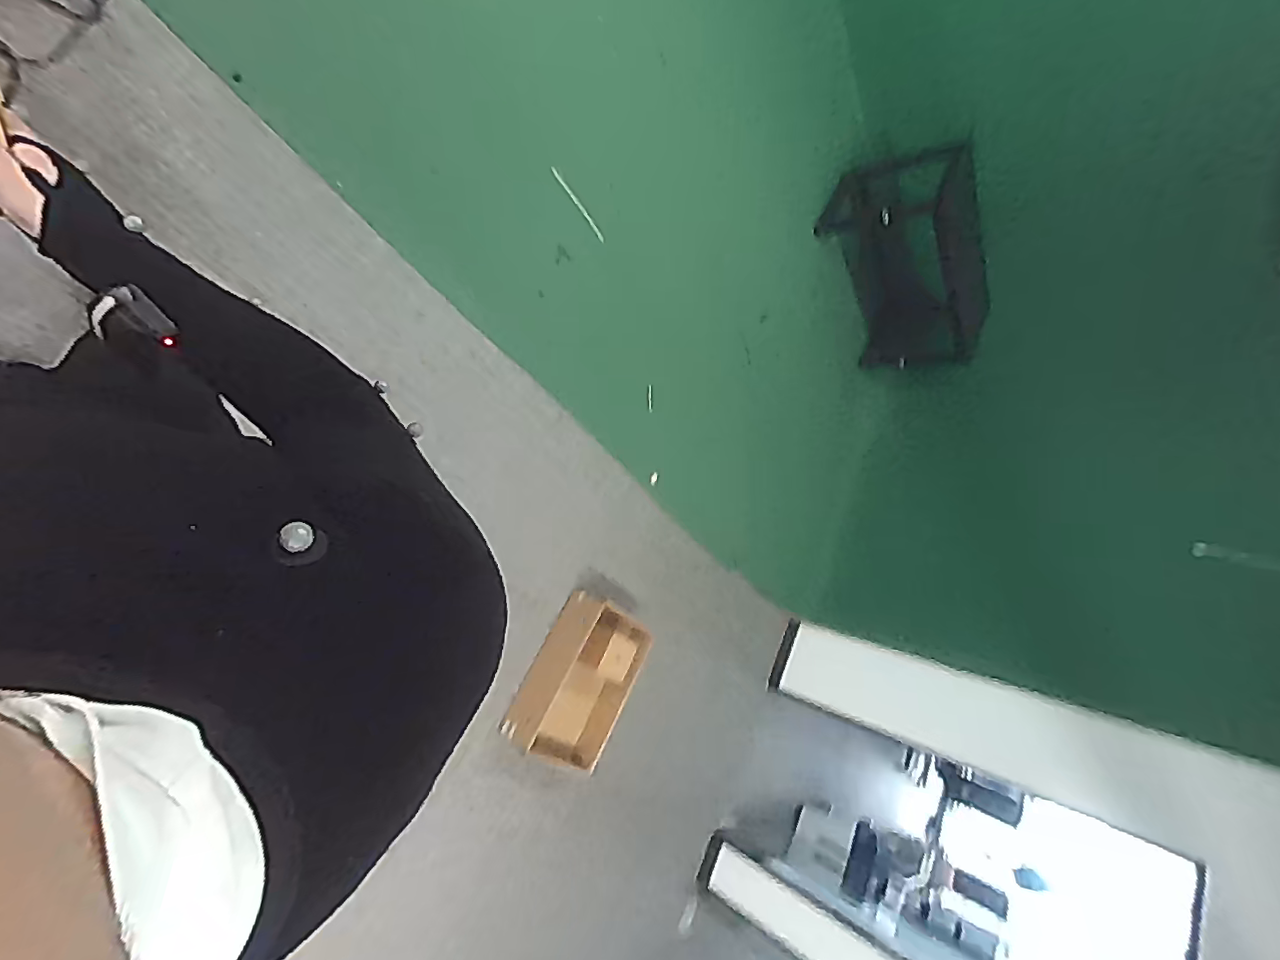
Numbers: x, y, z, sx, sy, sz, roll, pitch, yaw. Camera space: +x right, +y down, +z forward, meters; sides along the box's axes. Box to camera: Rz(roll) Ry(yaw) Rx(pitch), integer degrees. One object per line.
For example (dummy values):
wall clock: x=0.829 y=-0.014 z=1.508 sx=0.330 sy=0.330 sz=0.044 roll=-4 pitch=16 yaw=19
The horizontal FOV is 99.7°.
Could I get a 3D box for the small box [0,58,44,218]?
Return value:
small box: x=-0.641 y=-0.334 z=0.445 sx=0.168 sy=0.176 sz=0.179 roll=-17 pitch=110 yaw=-40
